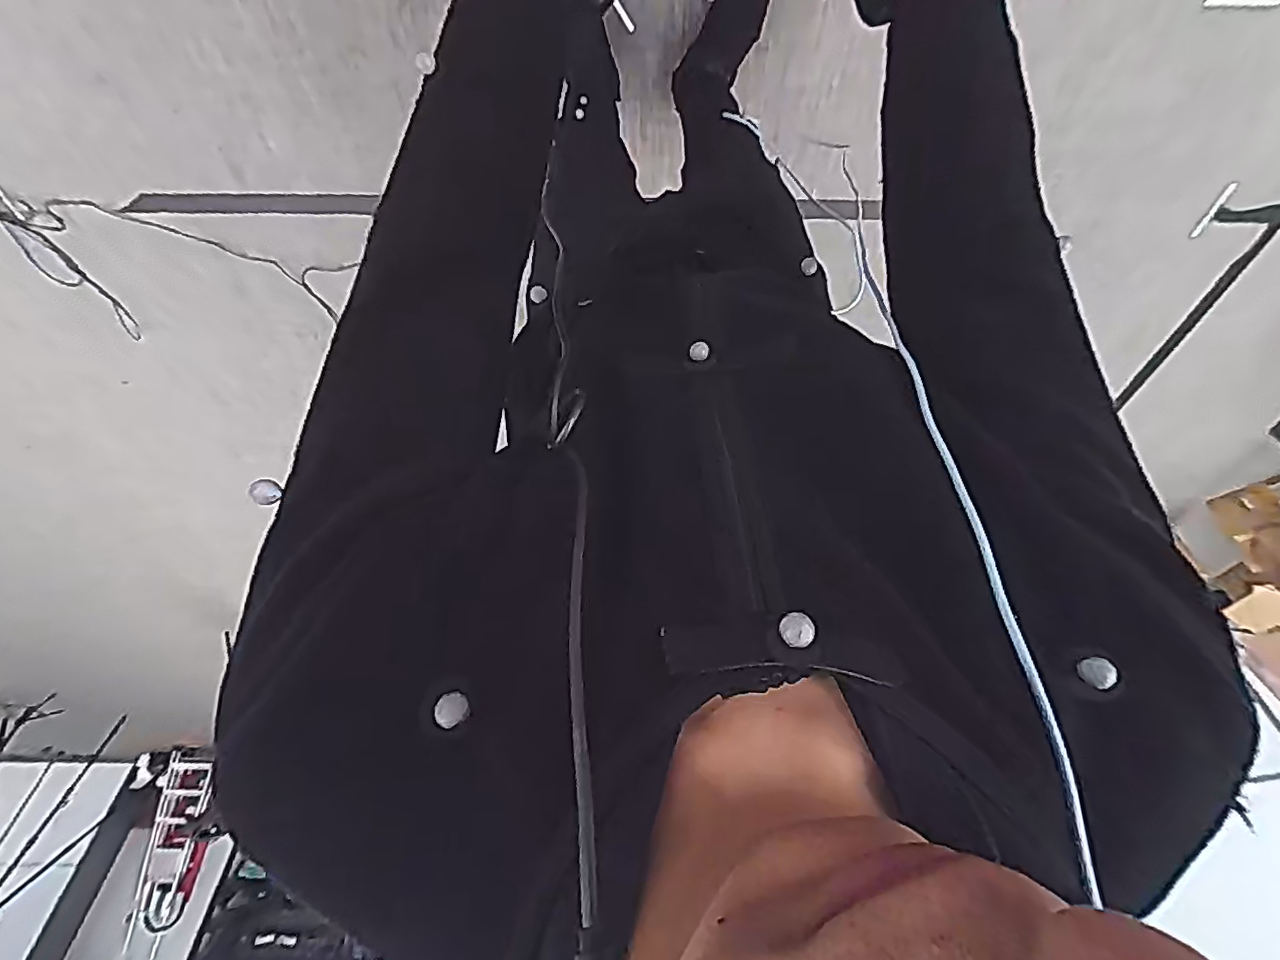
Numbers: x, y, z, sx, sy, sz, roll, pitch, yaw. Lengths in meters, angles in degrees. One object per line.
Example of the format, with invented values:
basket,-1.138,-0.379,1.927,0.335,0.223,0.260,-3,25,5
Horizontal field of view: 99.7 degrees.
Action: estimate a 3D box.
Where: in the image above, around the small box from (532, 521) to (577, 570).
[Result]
small box,-0.390,0.302,2.503,0.179,0.176,0.168,-1,140,2
